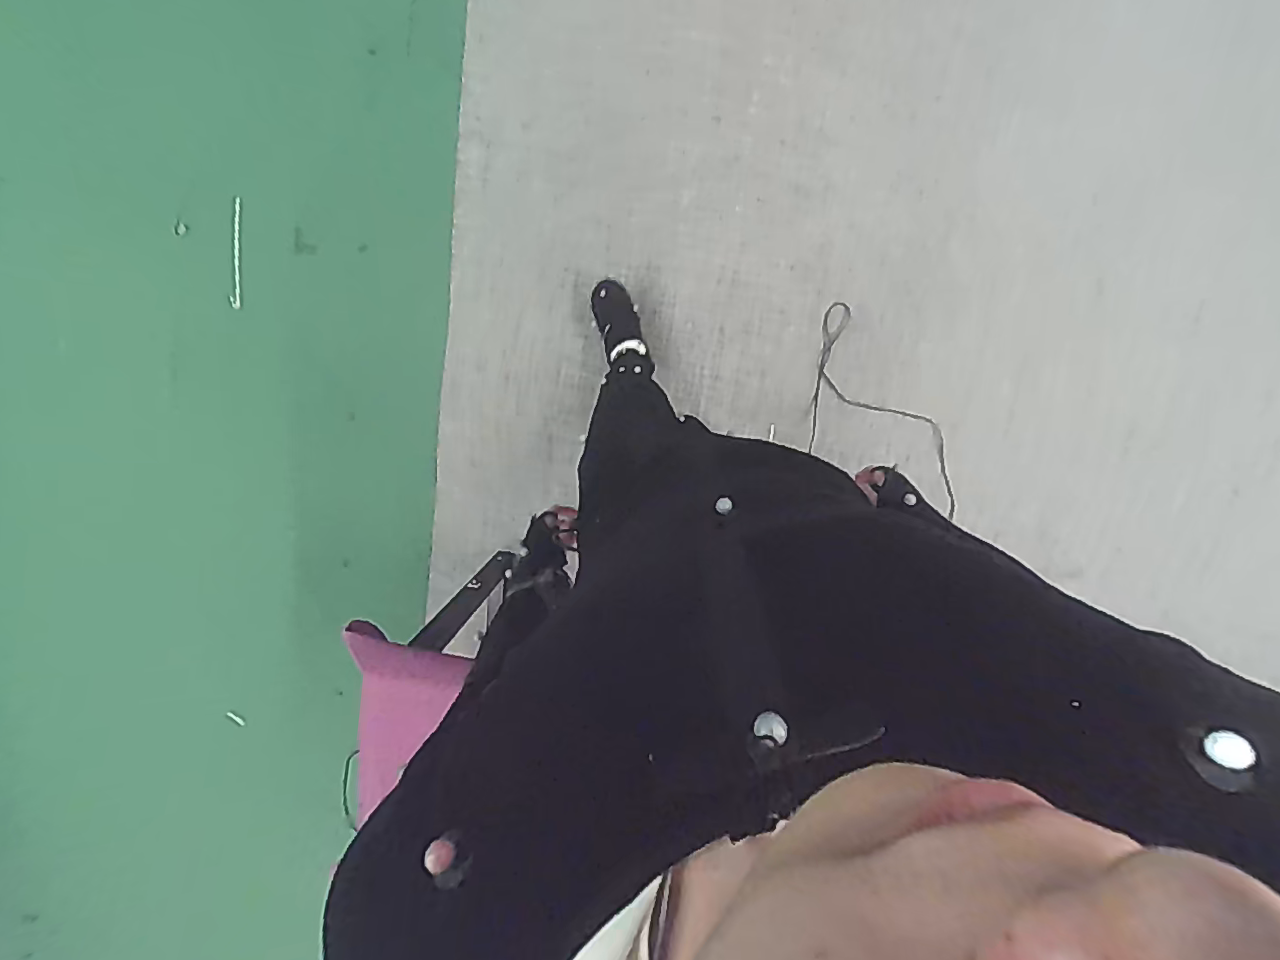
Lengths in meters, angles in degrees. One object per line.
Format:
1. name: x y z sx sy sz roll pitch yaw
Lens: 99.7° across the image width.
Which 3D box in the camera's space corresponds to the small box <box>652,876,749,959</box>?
1. small box: 0.108 0.891 1.000 0.168 0.176 0.179 8 102 4
